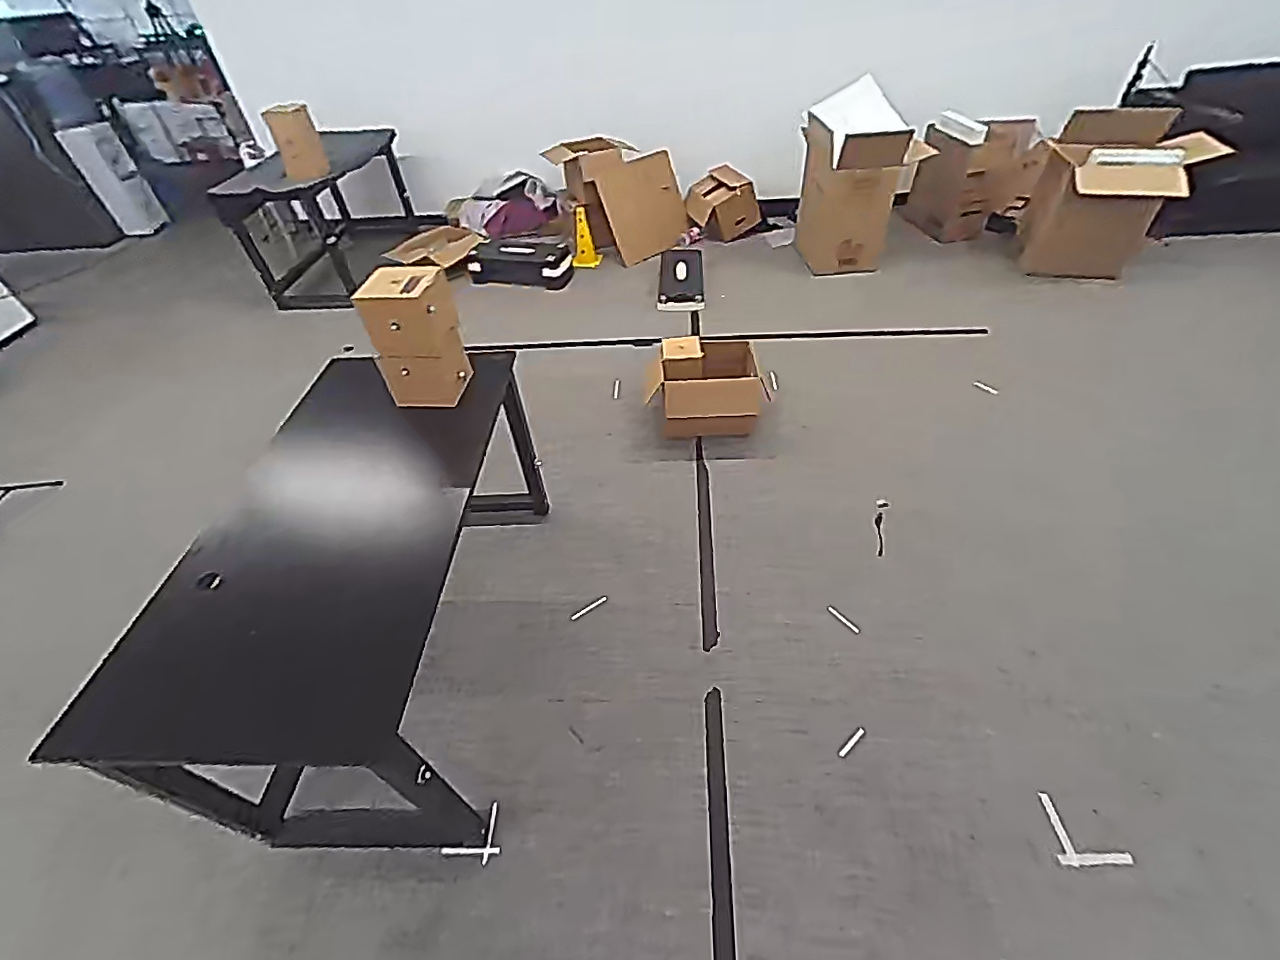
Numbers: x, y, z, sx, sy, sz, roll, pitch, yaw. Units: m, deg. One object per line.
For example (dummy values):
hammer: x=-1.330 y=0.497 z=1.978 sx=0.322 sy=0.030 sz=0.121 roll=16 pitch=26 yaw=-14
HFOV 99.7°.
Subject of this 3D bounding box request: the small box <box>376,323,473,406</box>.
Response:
small box: x=-0.597 y=-0.324 z=1.521 sx=0.179 sy=0.176 sz=0.168 roll=2 pitch=47 yaw=7
